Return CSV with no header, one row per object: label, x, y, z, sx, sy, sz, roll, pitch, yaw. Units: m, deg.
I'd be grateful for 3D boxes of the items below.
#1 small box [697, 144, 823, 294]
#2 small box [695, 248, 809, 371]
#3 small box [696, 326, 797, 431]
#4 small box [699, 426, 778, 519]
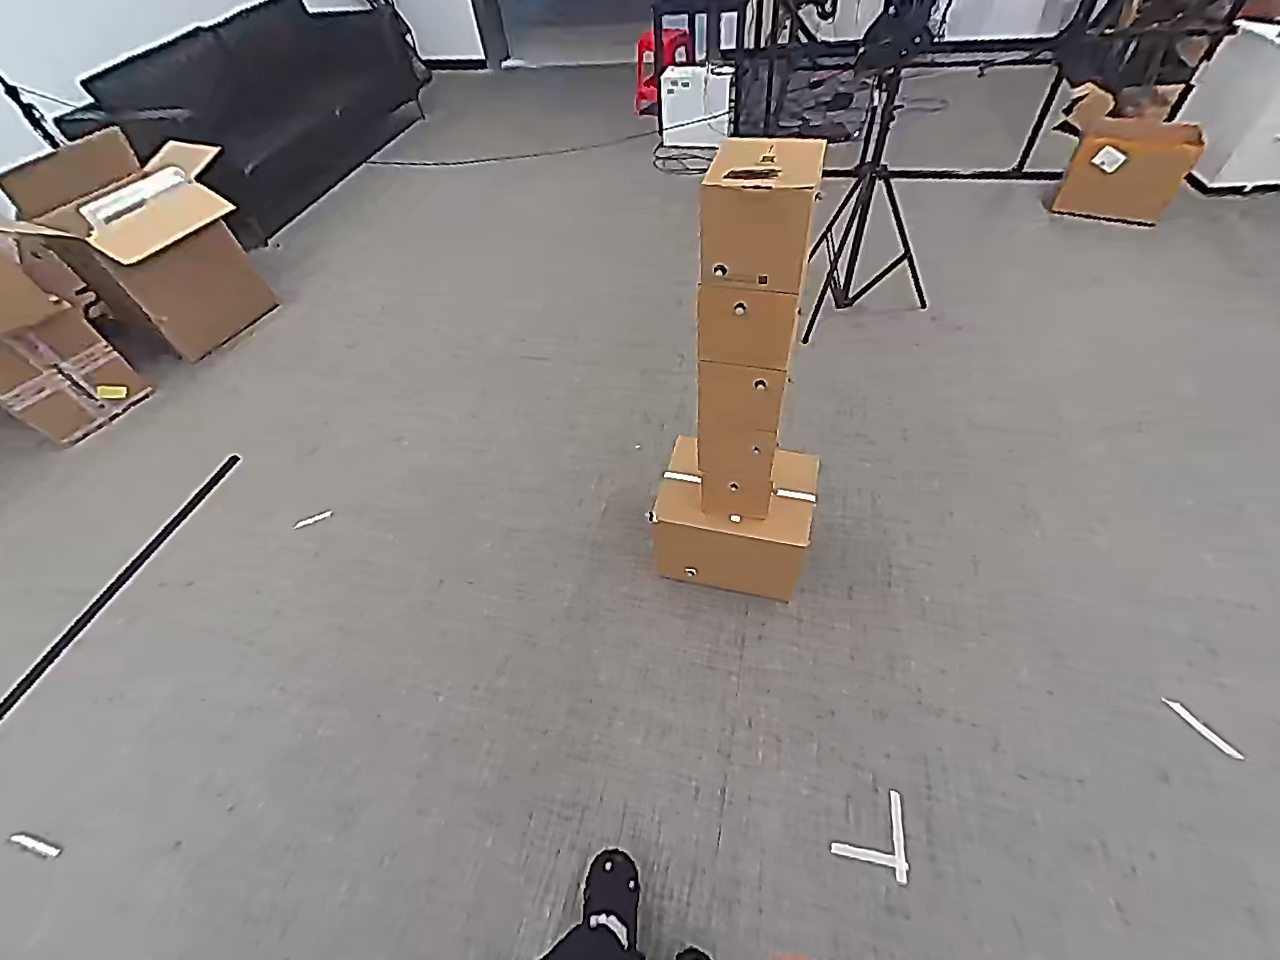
small box,0.196,-0.428,0.892,0.168,0.176,0.179,11,53,15
small box,0.208,-0.325,1.019,0.179,0.176,0.168,11,54,15
small box,0.222,-0.224,1.144,0.179,0.176,0.168,10,53,15
small box,0.252,-0.016,1.397,0.179,0.176,0.168,8,54,11
